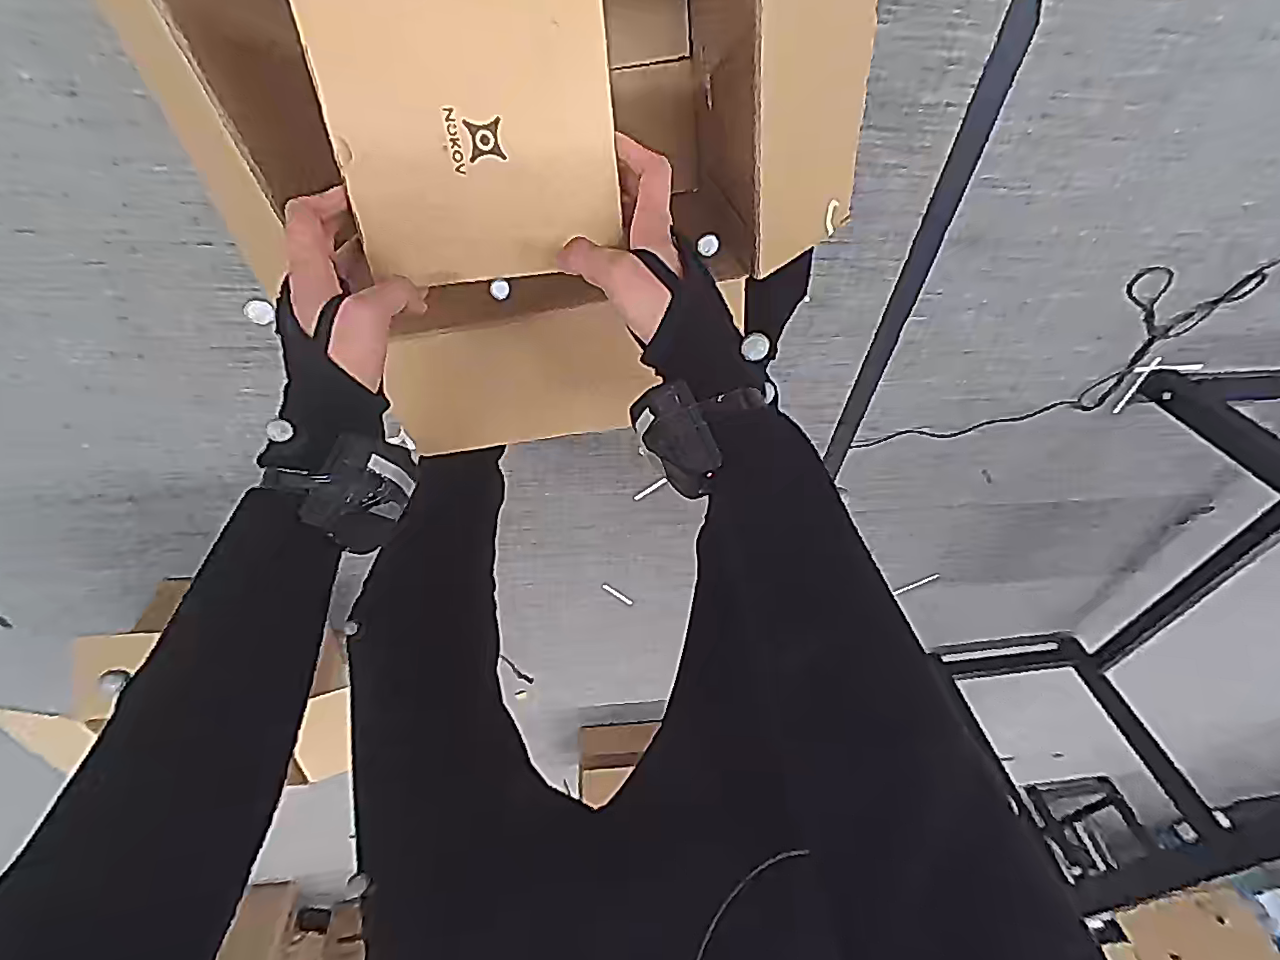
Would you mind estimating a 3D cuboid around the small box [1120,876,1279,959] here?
[{"bbox_3d":[1.192,0.969,1.152,0.168,0.176,0.179,-2,132,-9],"label":"small box"}]

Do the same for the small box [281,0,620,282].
[{"bbox_3d":[-0.118,-0.255,0.406,0.179,0.176,0.168,-9,118,-5],"label":"small box"}]
